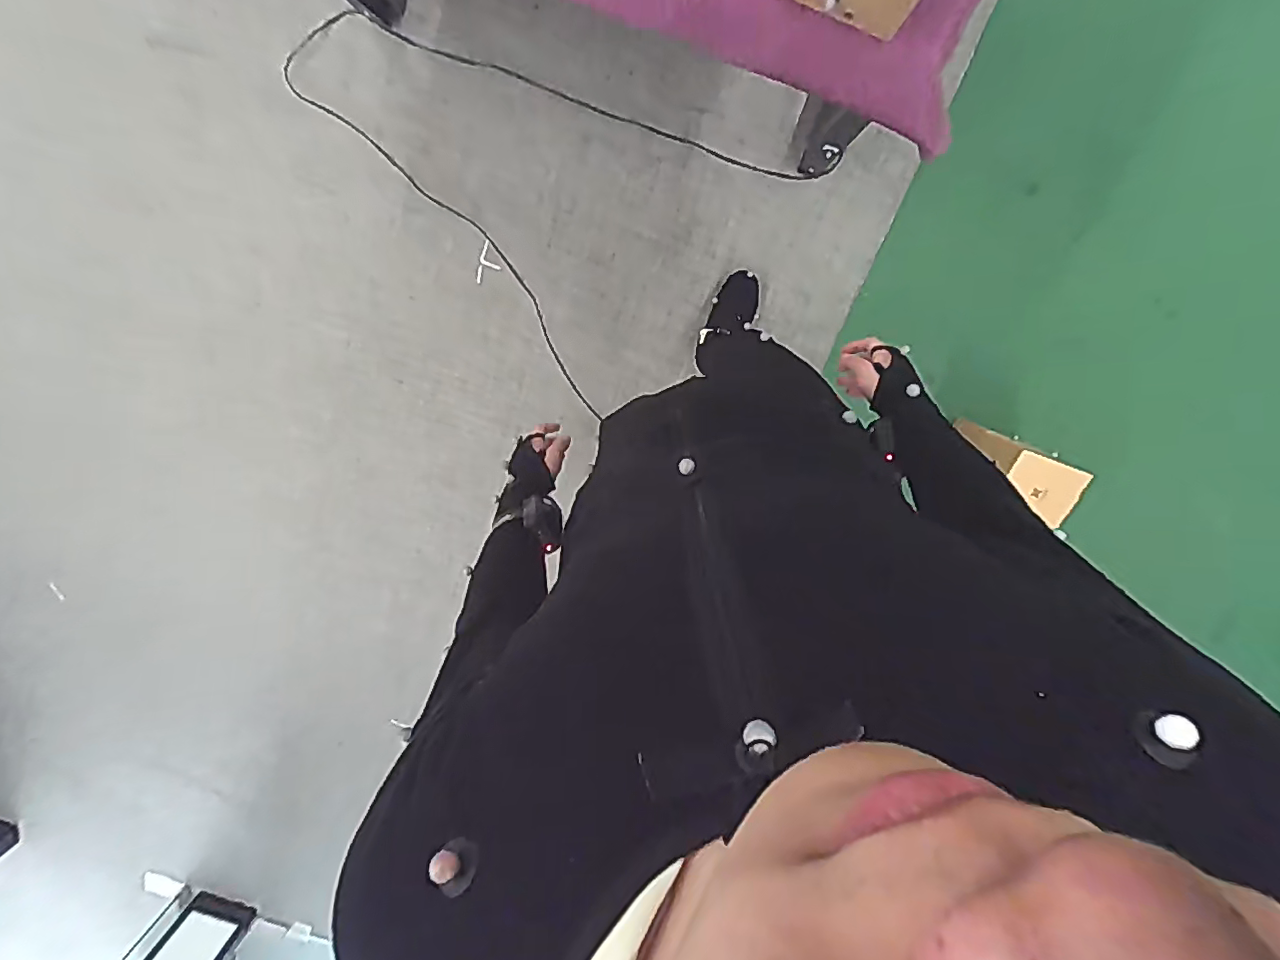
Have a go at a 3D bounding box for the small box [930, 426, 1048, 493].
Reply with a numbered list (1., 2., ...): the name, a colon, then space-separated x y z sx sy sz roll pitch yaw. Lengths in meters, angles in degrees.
1. small box: 0.934 -0.035 1.464 0.179 0.176 0.168 21 109 0

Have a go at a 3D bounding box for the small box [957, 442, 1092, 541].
1. small box: 0.918 0.019 1.313 0.179 0.176 0.168 20 108 -2
